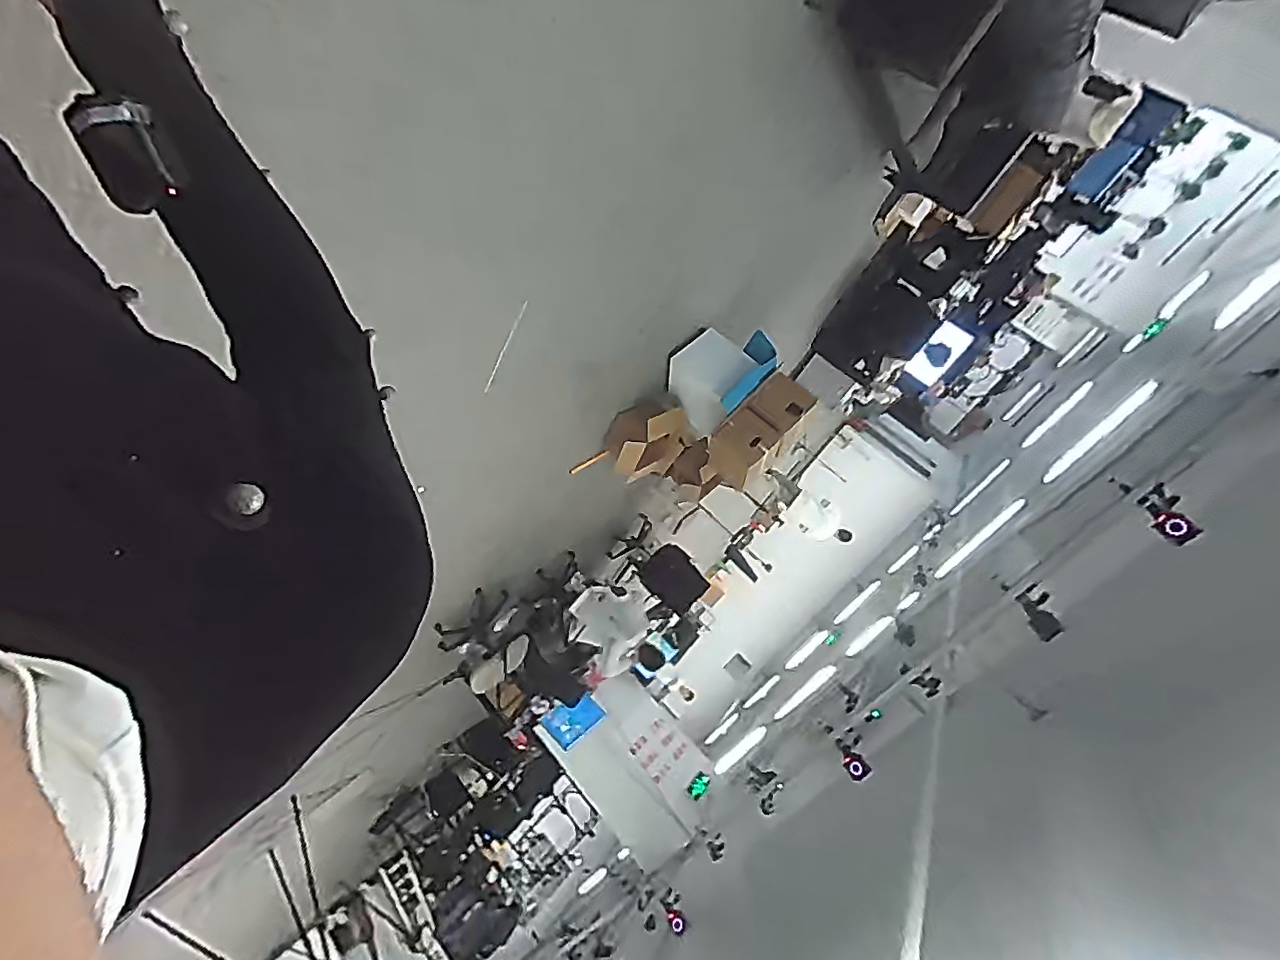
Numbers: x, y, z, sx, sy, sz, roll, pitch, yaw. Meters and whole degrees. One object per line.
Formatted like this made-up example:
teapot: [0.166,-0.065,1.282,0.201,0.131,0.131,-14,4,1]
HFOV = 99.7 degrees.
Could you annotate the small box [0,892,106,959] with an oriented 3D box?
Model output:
small box: [-1.317,1.067,1.181,0.179,0.176,0.168,-20,148,-55]
